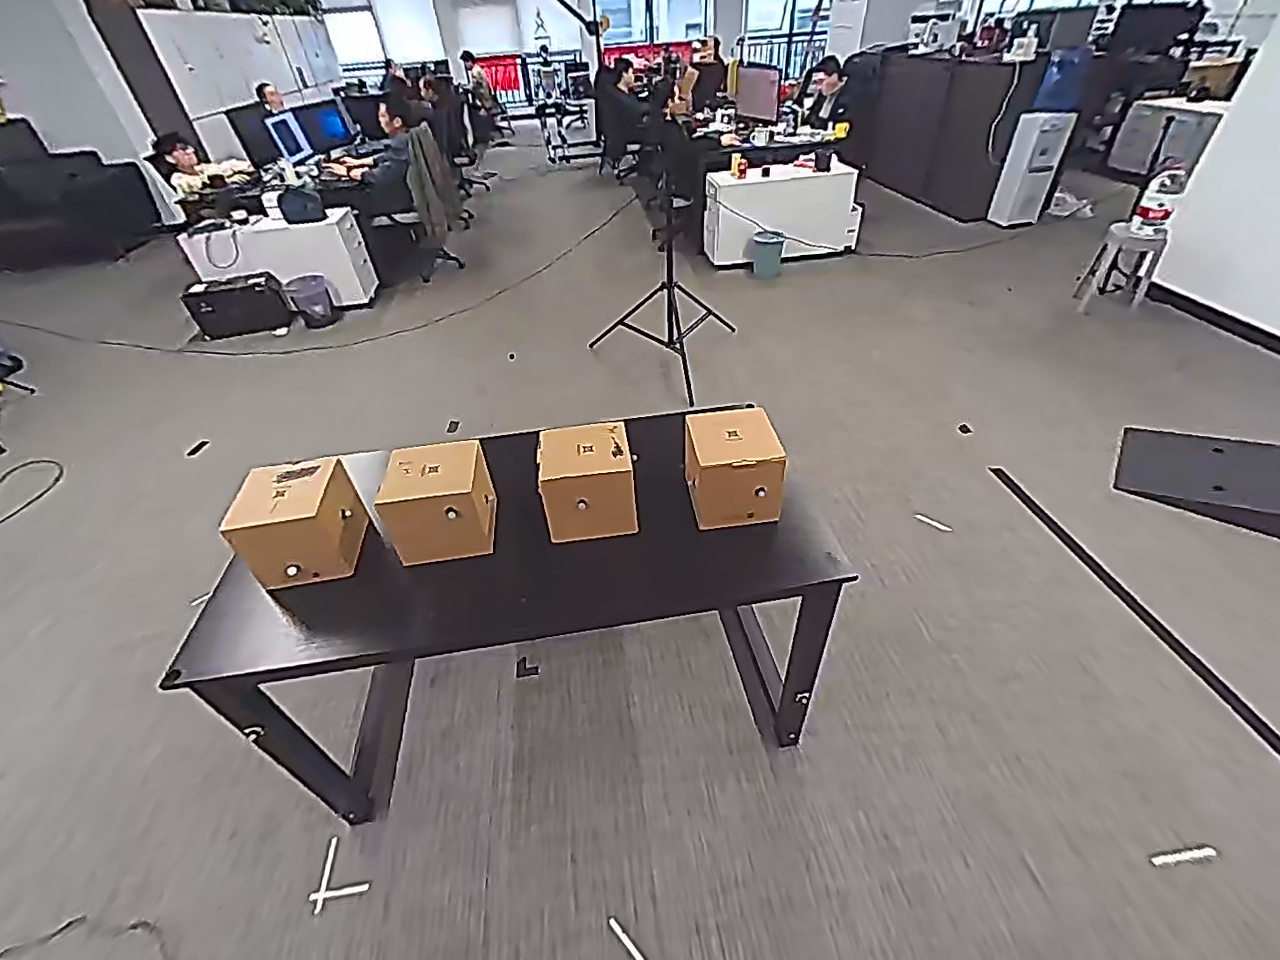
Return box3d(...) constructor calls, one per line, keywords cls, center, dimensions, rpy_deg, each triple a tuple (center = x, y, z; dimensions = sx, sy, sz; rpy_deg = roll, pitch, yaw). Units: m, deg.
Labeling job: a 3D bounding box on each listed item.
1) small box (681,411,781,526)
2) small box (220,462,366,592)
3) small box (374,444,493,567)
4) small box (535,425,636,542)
box3d(cls="small box", center=(0.180, -0.018, 1.113), dimensions=(0.168, 0.176, 0.179), rpy_deg=(-6, 39, -3))
box3d(cls="small box", center=(-0.661, 0.090, 1.060), dimensions=(0.168, 0.176, 0.179), rpy_deg=(-9, 41, -6))
box3d(cls="small box", center=(-0.398, 0.051, 1.081), dimensions=(0.179, 0.176, 0.168), rpy_deg=(-8, 40, -5))
box3d(cls="small box", center=(-0.109, 0.011, 1.106), dimensions=(0.179, 0.176, 0.168), rpy_deg=(-8, 40, -3))
